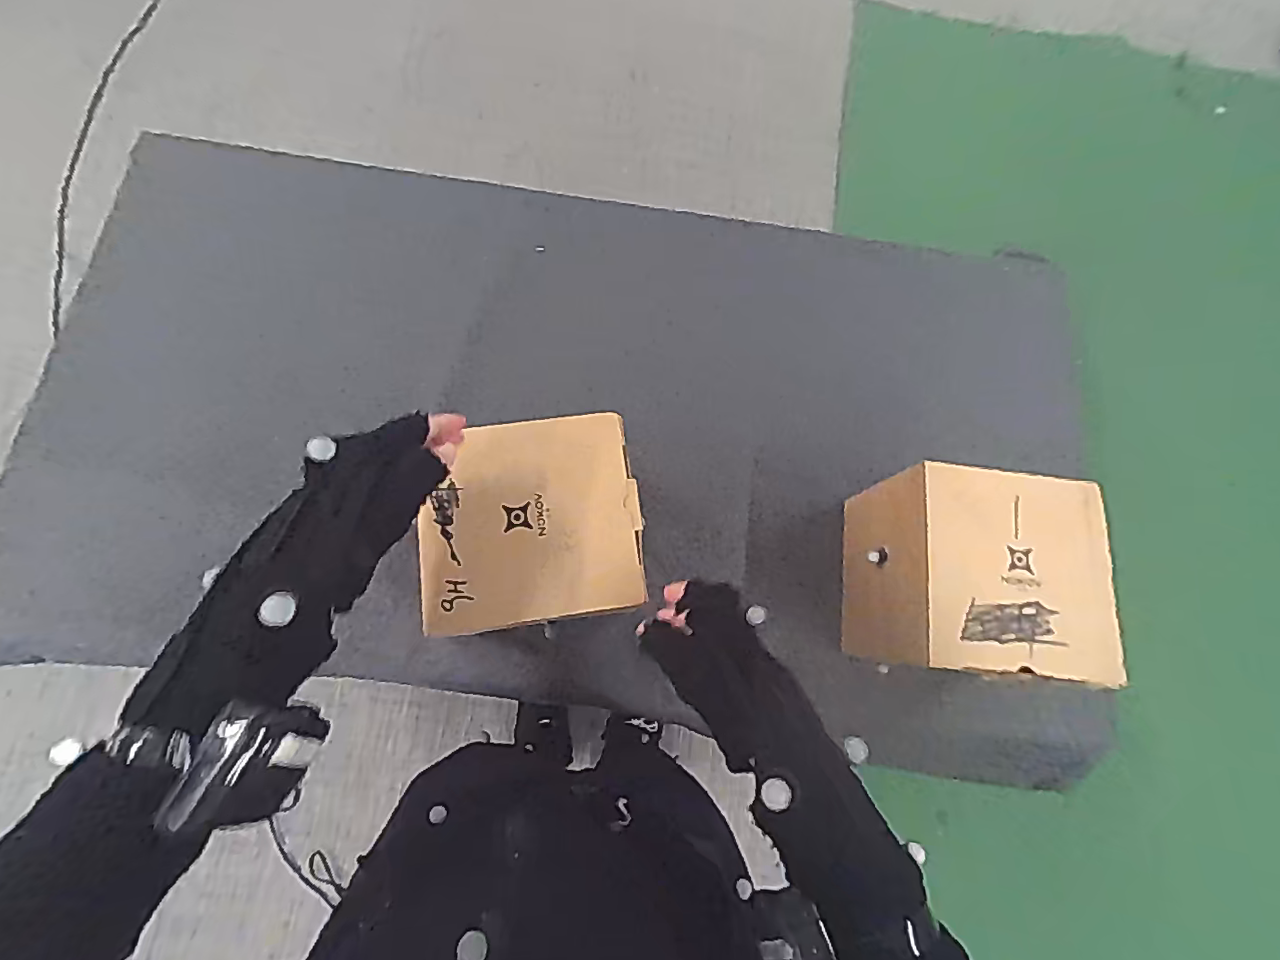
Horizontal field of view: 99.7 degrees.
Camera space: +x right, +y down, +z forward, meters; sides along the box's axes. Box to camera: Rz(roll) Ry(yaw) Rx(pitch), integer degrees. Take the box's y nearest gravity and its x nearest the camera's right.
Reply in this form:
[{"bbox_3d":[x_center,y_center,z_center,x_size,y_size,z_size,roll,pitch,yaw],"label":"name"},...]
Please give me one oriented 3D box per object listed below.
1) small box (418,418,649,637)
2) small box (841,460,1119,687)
[{"bbox_3d":[-0.096,0.051,0.515,0.179,0.176,0.168,-7,76,-7],"label":"small box"},{"bbox_3d":[0.314,0.096,0.537,0.168,0.176,0.179,8,74,-2],"label":"small box"}]
